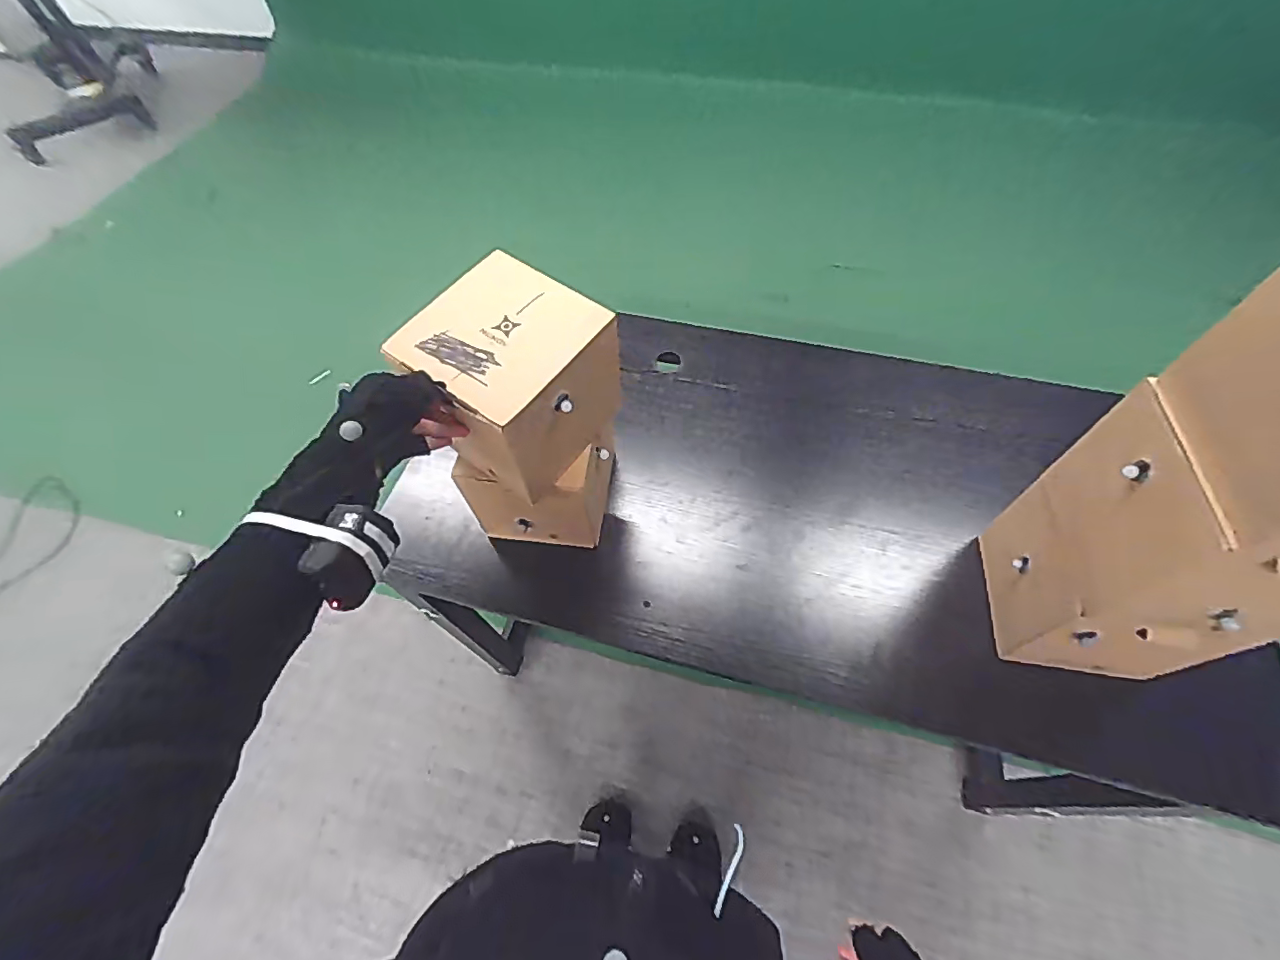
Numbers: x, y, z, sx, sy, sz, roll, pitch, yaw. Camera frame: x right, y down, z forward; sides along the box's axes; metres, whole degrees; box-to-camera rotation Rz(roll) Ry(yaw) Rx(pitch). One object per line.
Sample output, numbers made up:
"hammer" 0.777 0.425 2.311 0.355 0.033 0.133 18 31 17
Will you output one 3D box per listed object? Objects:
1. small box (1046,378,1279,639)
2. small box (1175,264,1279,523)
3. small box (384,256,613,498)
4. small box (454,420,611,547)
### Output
"small box" 0.524 0.030 0.502 0.168 0.176 0.179 5 59 7
"small box" 0.523 -0.063 0.349 0.168 0.176 0.179 5 58 6
"small box" -0.141 -0.109 0.615 0.168 0.176 0.179 32 66 15
"small box" -0.136 -0.025 0.765 0.168 0.176 0.179 5 60 5
